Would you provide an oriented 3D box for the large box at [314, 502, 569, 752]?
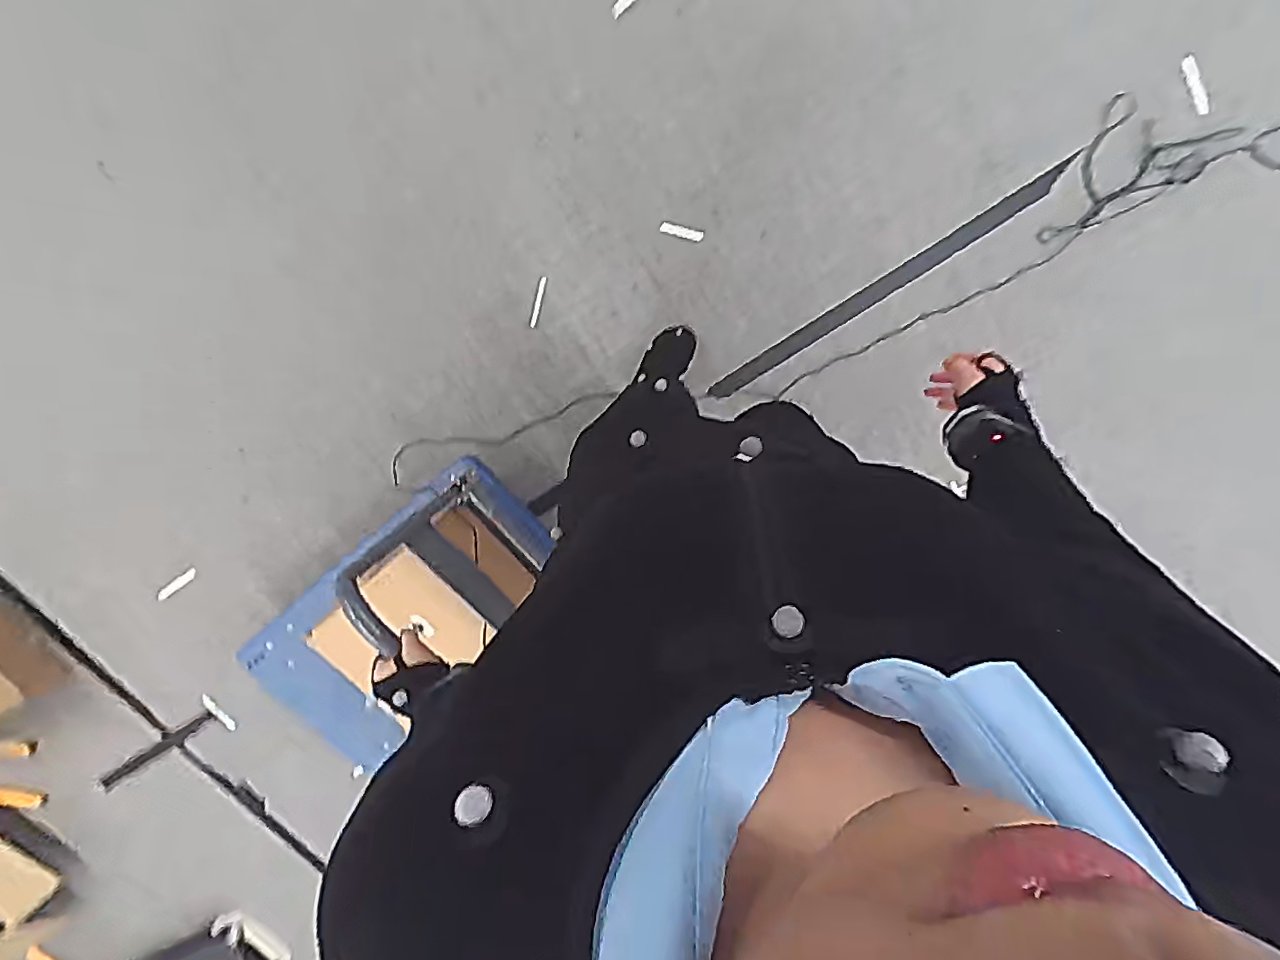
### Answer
[{"bbox_3d":[-0.426,0.324,1.265,0.320,0.320,0.408,-40,101,9],"label":"large box"}]
